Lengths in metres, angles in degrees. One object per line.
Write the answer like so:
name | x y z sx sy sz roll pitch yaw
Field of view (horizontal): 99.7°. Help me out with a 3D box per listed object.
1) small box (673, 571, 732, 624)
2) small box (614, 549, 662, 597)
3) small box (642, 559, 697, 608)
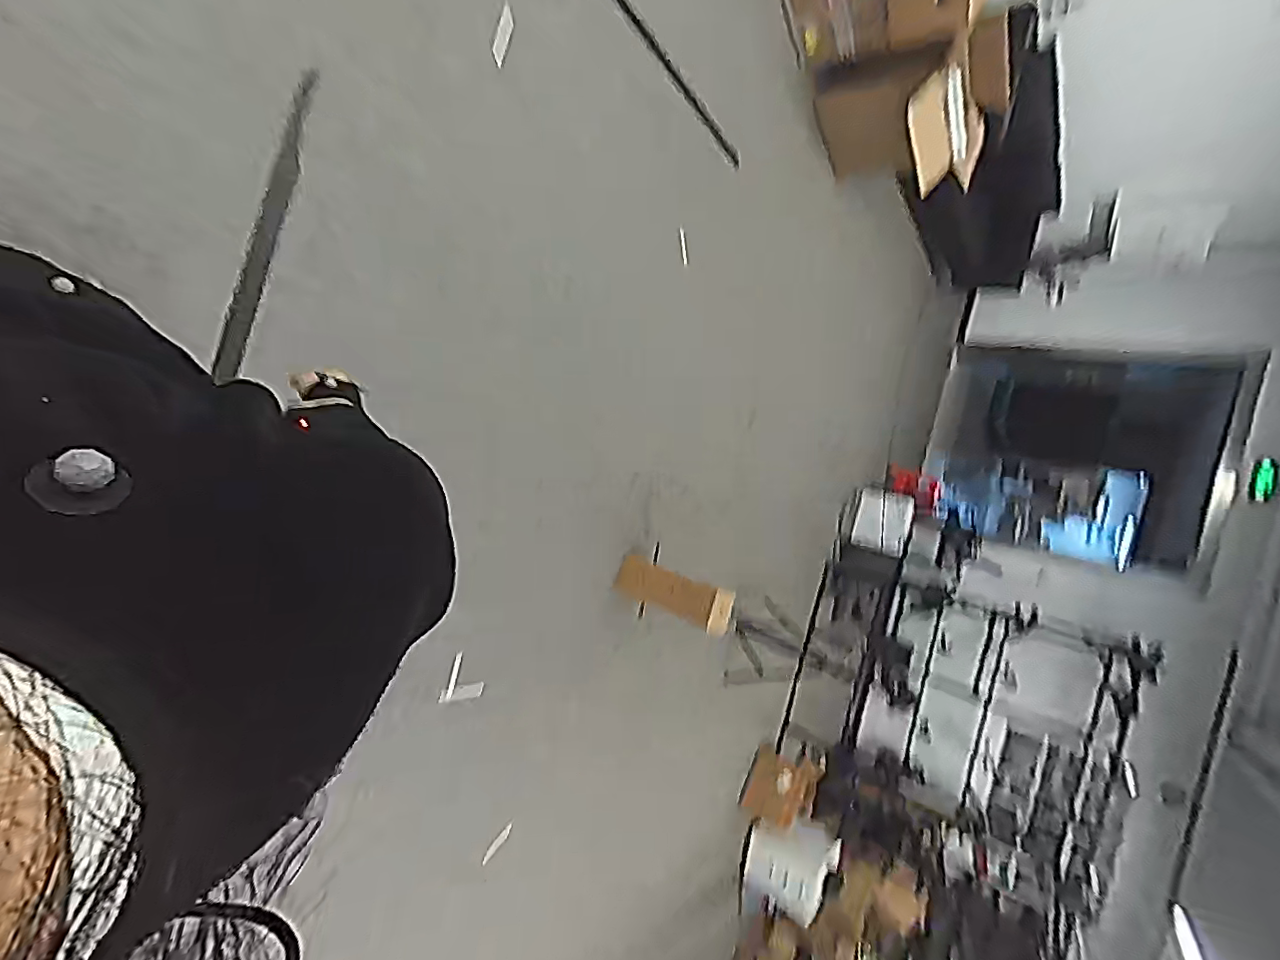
small box | 0.262 0.493 2.286 0.168 0.176 0.179 23 83 -50
small box | 0.005 0.430 2.477 0.168 0.176 0.179 23 83 -51
small box | 0.135 0.462 2.381 0.168 0.176 0.179 27 79 -50
